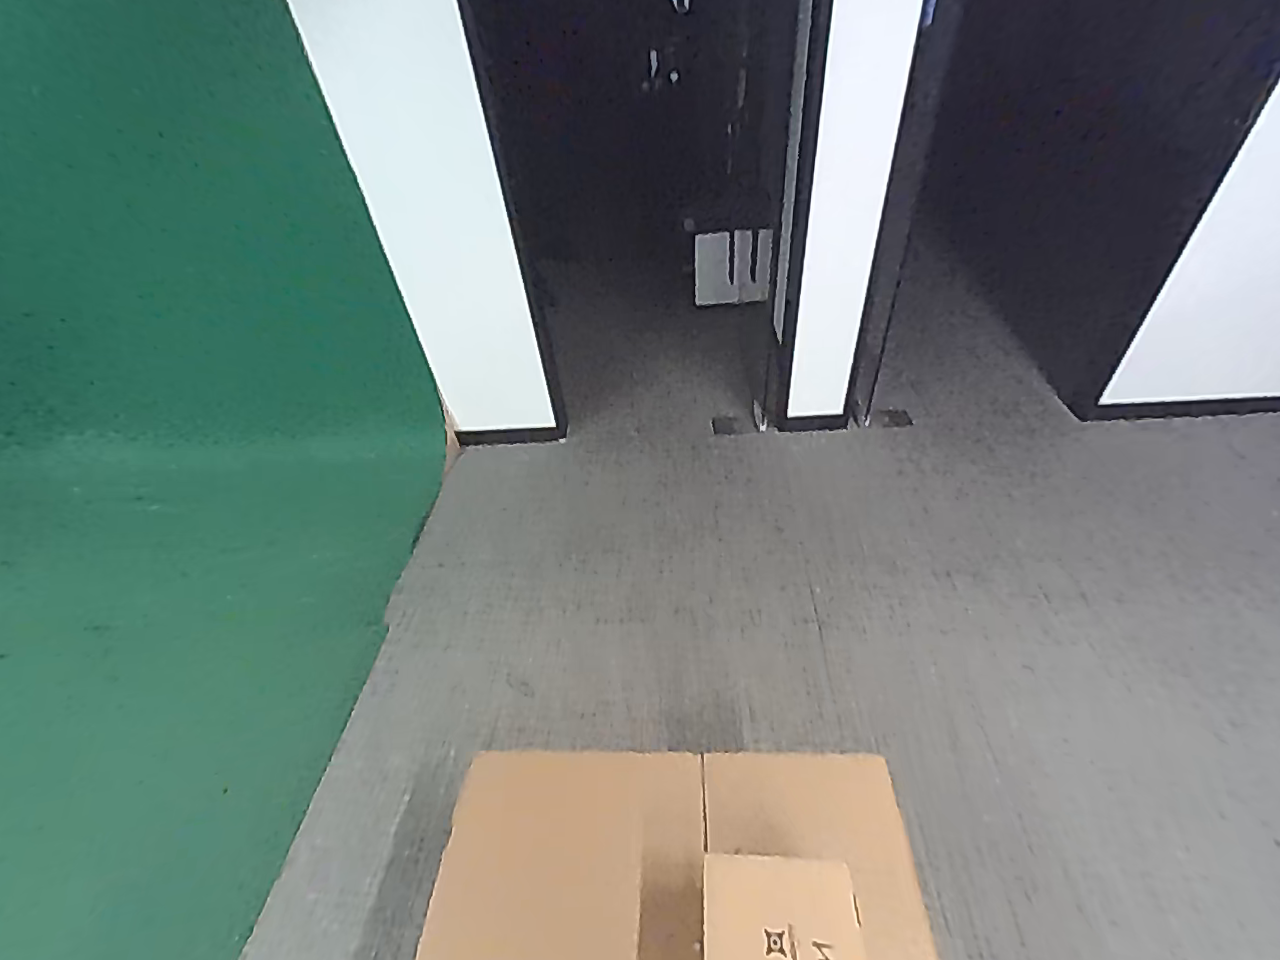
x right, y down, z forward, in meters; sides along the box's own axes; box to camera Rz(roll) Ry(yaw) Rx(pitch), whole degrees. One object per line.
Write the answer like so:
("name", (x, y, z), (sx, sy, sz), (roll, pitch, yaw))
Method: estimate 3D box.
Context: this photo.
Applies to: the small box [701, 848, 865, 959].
("small box", (0.166, 0.566, 0.646), (0.179, 0.176, 0.168), (-2, 42, 9))
